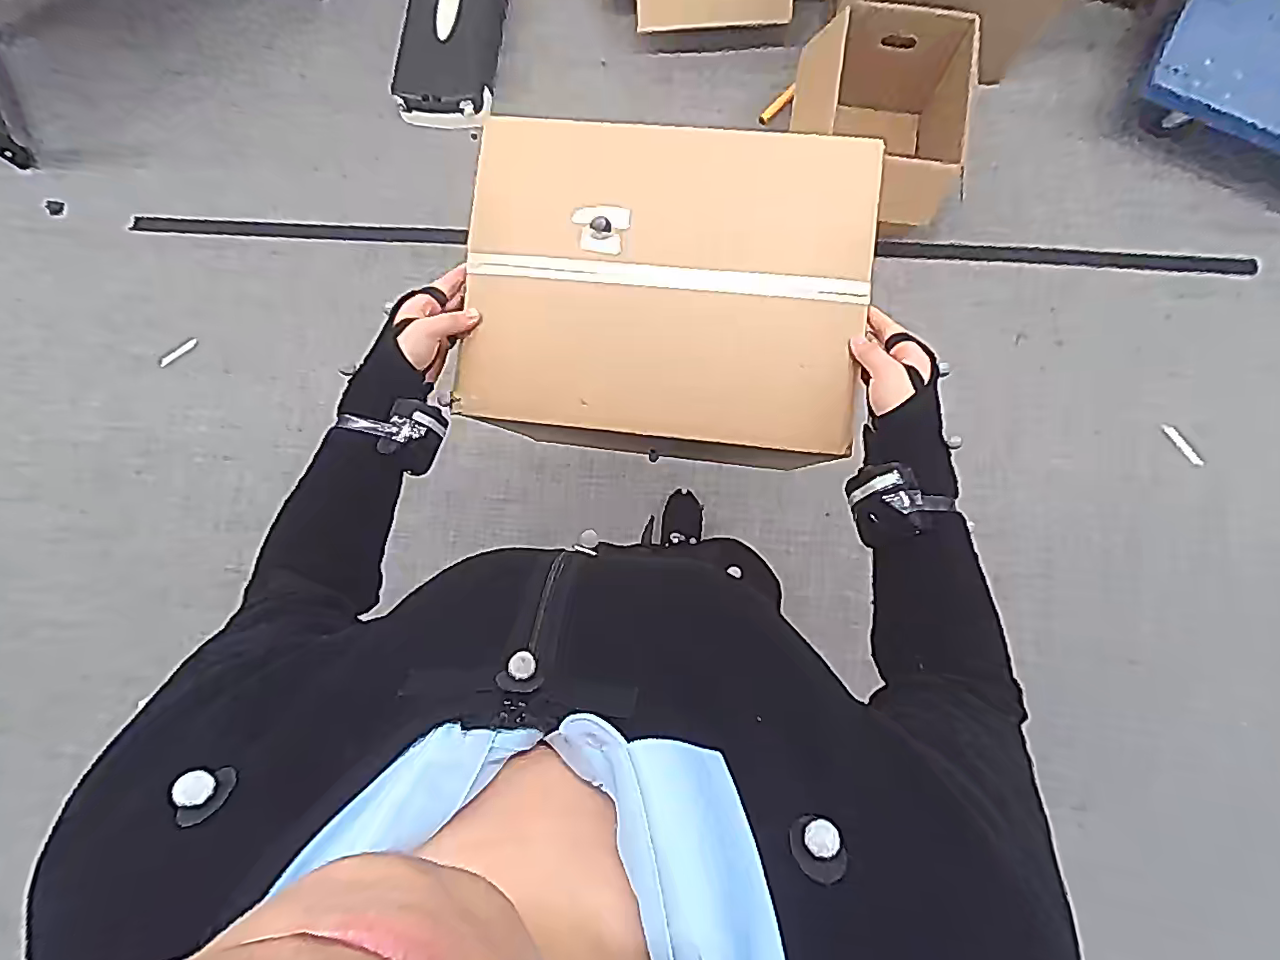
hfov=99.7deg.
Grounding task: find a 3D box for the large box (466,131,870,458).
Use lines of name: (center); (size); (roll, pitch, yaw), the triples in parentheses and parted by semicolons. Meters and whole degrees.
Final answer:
large box: (0.039, -0.202, 0.704); (0.408, 0.320, 0.320); (6, 88, 5)
